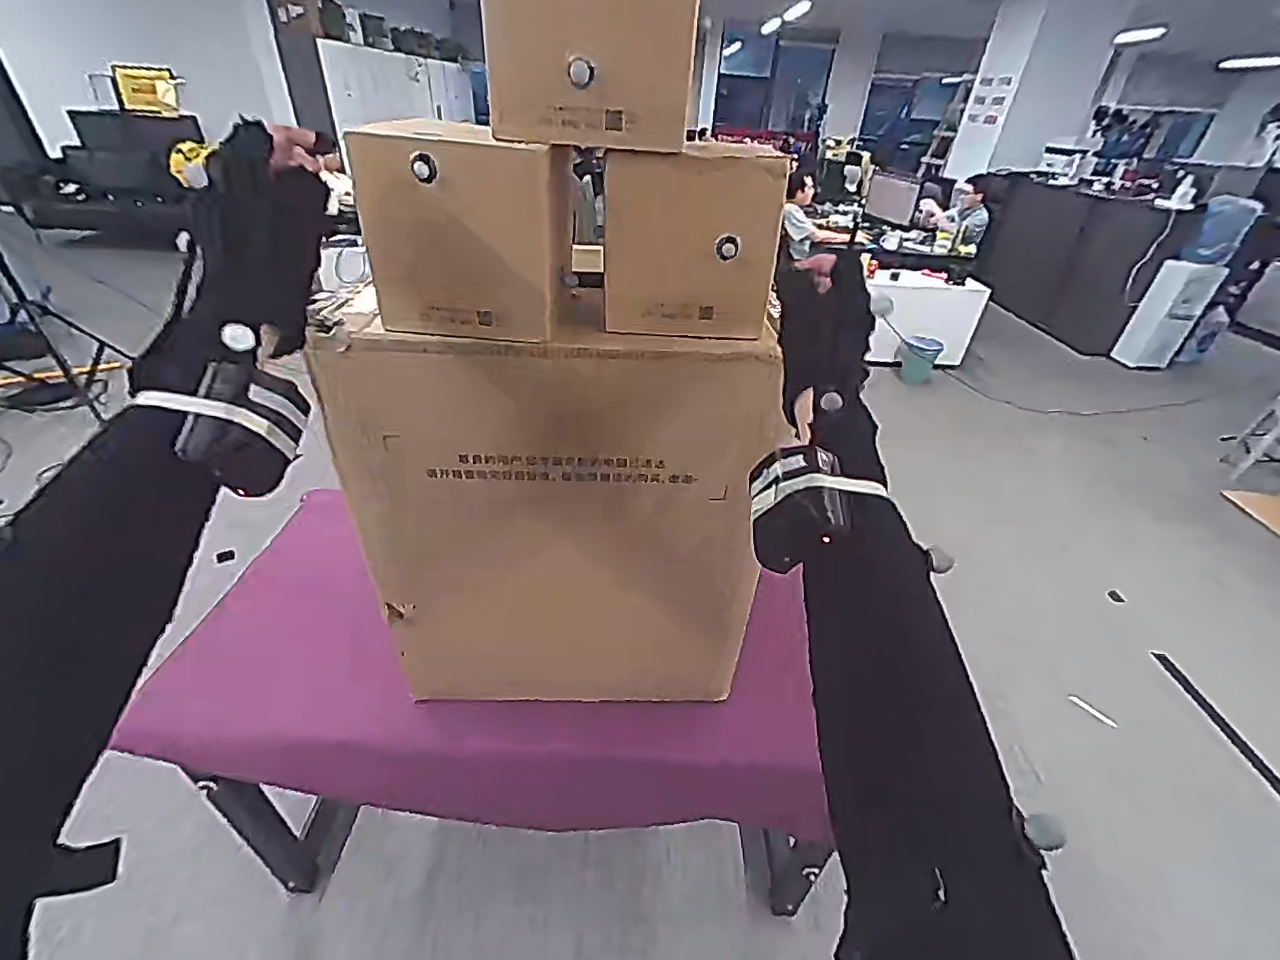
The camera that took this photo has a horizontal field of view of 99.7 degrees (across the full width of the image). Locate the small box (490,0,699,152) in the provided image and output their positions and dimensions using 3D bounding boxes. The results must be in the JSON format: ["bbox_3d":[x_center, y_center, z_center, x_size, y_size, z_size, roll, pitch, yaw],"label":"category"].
[{"bbox_3d":[-0.035,-0.402,0.481,0.168,0.176,0.179,3,35,-1],"label":"small box"}]

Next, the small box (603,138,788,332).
[{"bbox_3d":[0.052,-0.268,0.584,0.168,0.176,0.179,4,33,1],"label":"small box"}]
